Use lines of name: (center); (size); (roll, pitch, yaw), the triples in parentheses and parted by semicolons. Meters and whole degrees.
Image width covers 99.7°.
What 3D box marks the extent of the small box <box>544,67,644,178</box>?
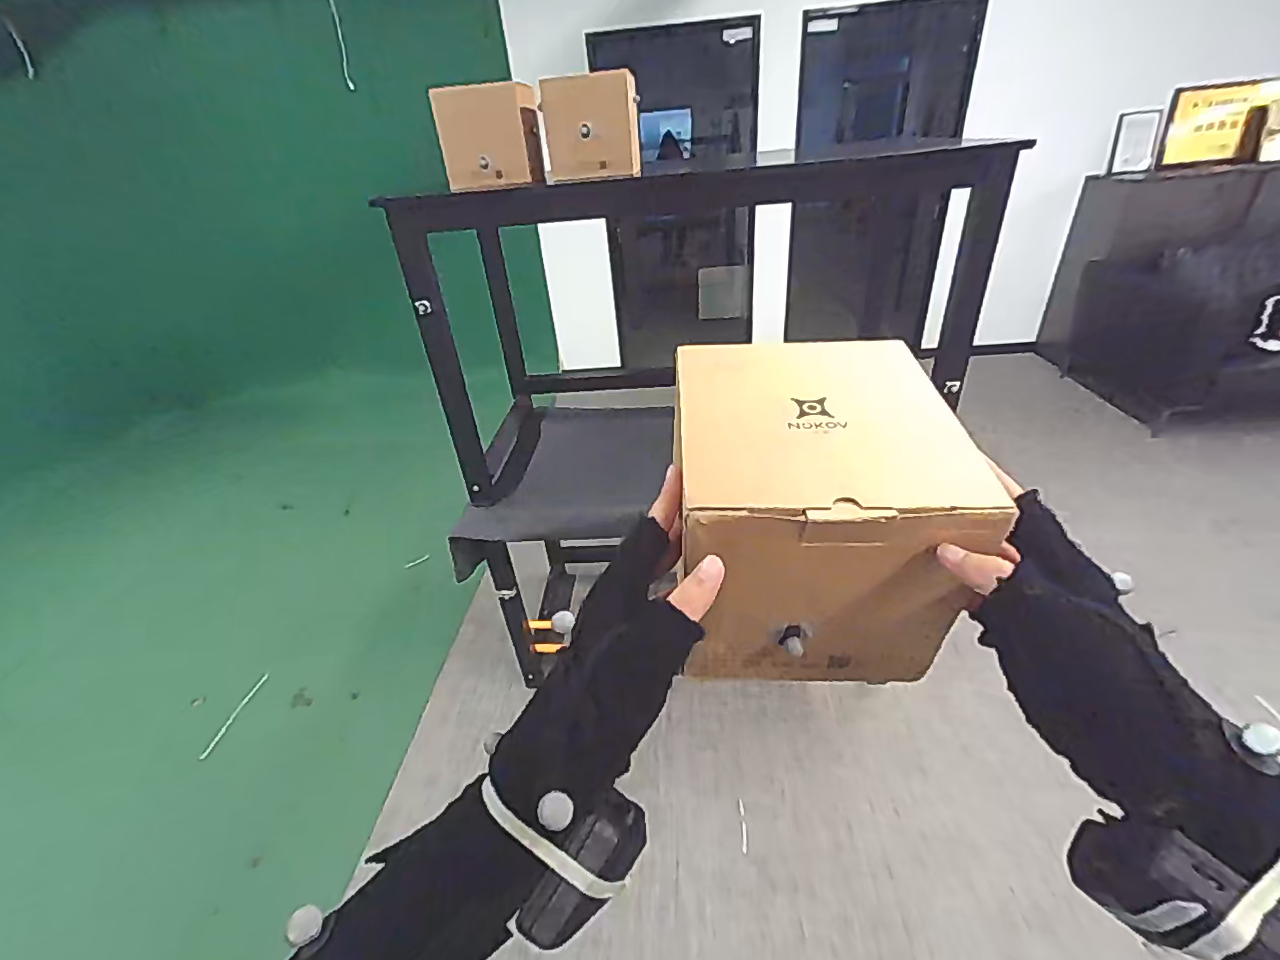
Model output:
small box: (-0.081, -0.706, 1.080); (0.168, 0.176, 0.179); (-1, 32, 5)

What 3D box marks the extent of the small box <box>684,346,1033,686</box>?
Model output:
small box: (0.117, 0.021, 0.383); (0.168, 0.176, 0.179); (-1, 42, 3)
